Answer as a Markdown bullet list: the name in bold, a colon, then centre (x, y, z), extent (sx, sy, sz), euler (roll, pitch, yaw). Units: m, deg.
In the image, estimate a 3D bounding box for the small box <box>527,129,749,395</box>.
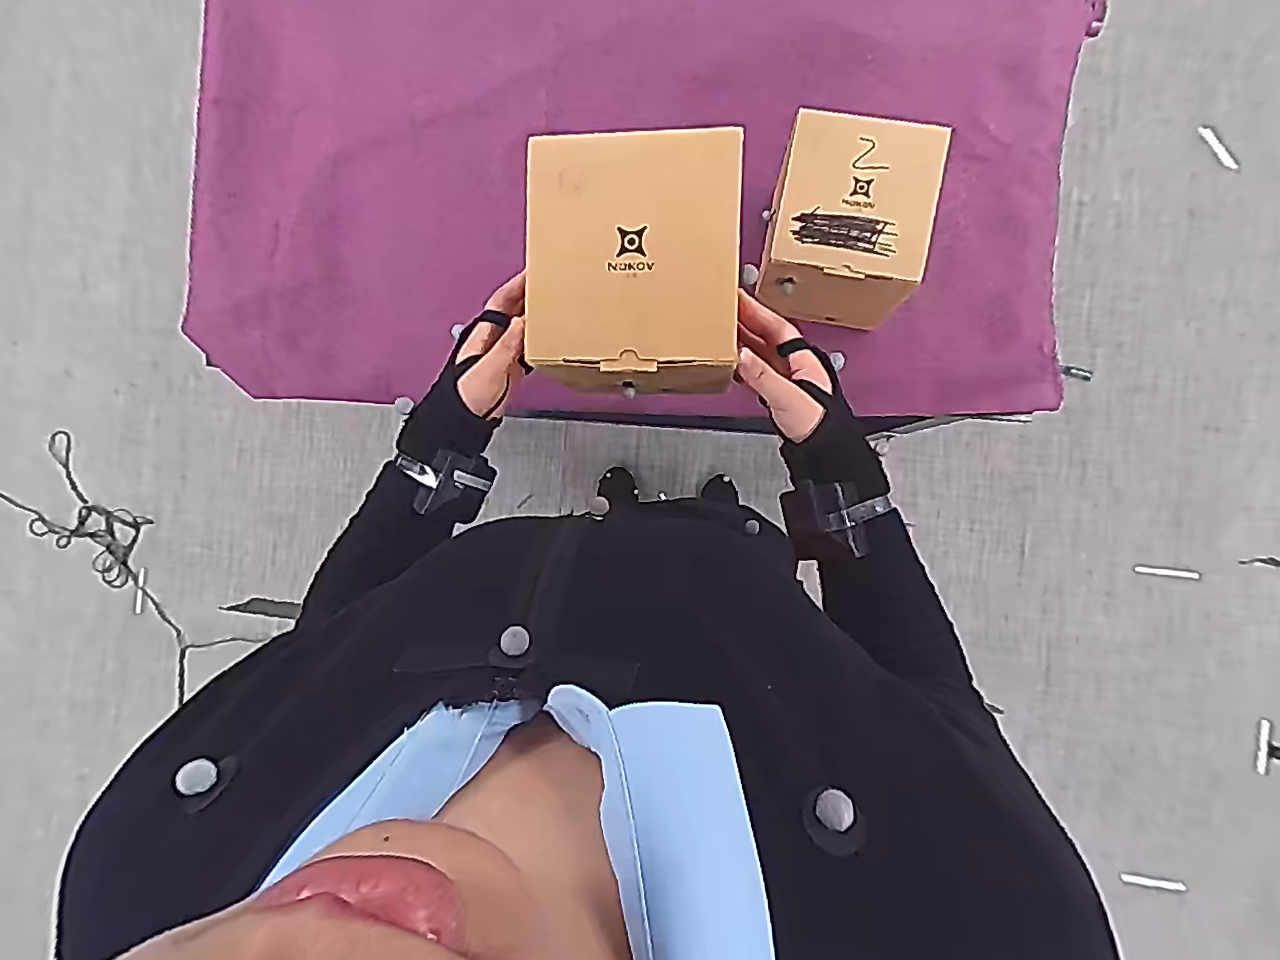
- **small box**: centre (0.004, -0.177, 0.487), extent (0.168, 0.176, 0.179), euler (1, 92, 6)
